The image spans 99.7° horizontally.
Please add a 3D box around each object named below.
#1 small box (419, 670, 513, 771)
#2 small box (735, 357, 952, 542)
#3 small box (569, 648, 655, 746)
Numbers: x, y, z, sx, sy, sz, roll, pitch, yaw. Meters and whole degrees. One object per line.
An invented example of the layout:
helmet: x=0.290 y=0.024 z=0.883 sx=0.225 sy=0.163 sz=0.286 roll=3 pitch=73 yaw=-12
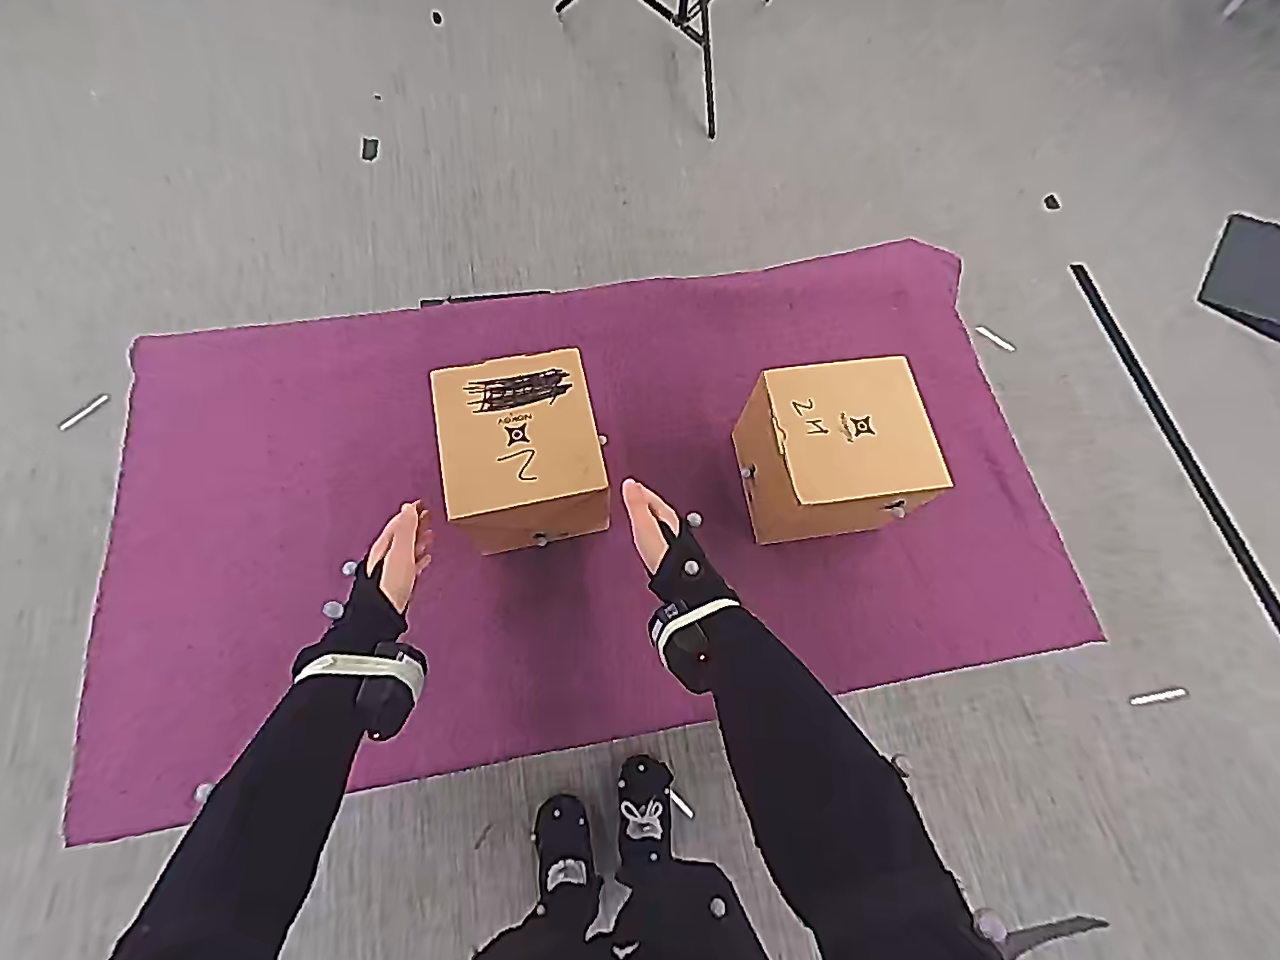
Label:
small box: x=-0.380 y=0.530 z=1.202 sx=0.168 sy=0.176 sz=0.179 roll=-7 pitch=69 yaw=-6
small box: x=0.232 y=-0.030 z=0.665 sx=0.179 sy=0.176 sz=0.168 roll=-7 pitch=69 yaw=-5
small box: x=-0.068 y=0.490 z=1.233 sx=0.168 sy=0.176 sz=0.179 roll=-9 pitch=71 yaw=-6
